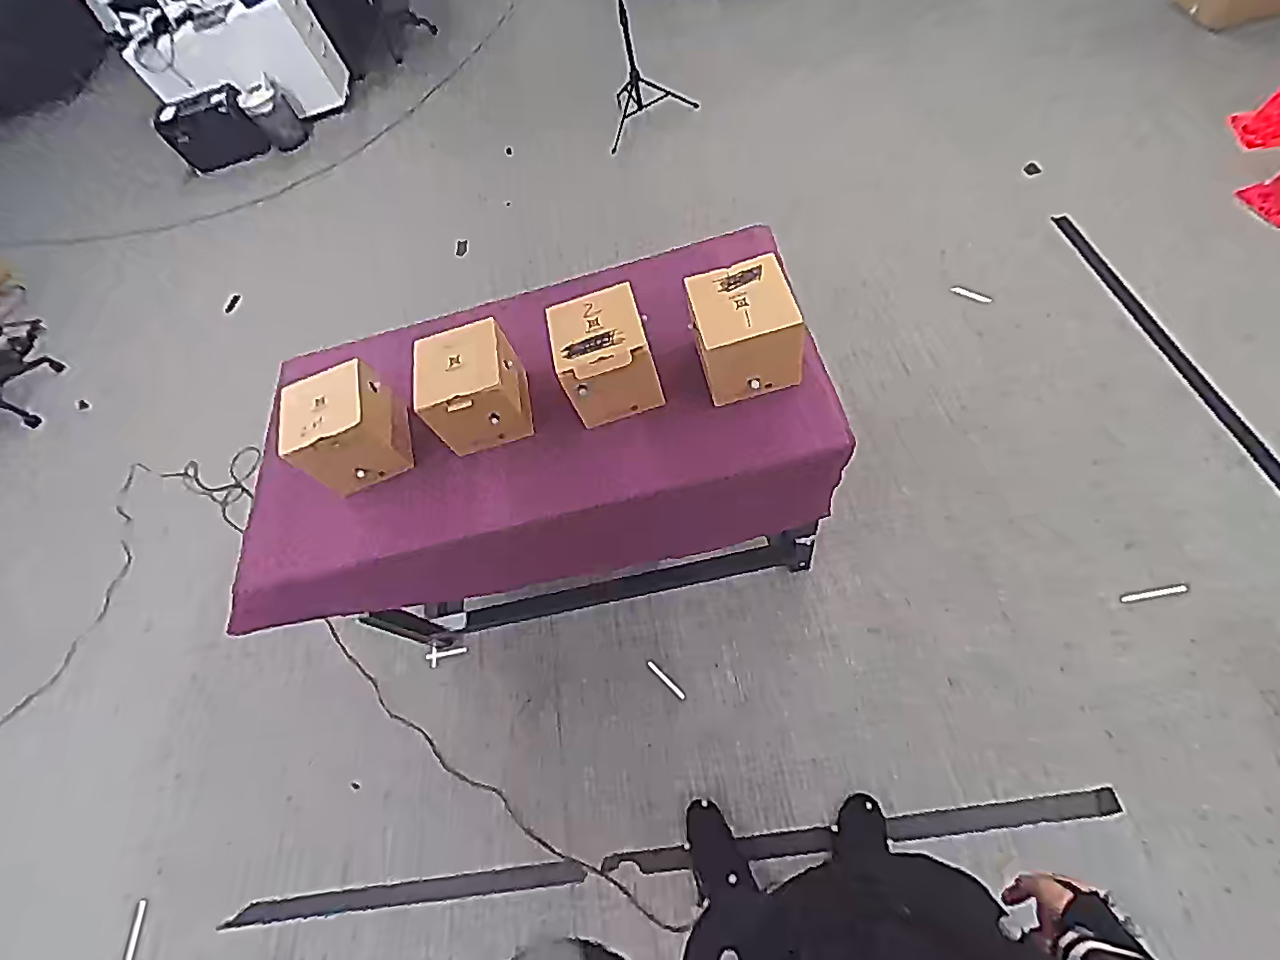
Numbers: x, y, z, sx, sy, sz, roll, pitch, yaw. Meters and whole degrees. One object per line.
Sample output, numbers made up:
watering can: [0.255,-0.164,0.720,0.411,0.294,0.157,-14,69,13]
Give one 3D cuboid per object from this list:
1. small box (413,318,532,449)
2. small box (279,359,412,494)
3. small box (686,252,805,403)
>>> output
small box: [-0.322,-0.179,1.061,0.168,0.176,0.179,-15,60,5]
small box: [-0.581,-0.101,1.081,0.168,0.176,0.179,-22,60,2]
small box: [0.189,-0.271,0.981,0.168,0.176,0.179,-15,61,6]
